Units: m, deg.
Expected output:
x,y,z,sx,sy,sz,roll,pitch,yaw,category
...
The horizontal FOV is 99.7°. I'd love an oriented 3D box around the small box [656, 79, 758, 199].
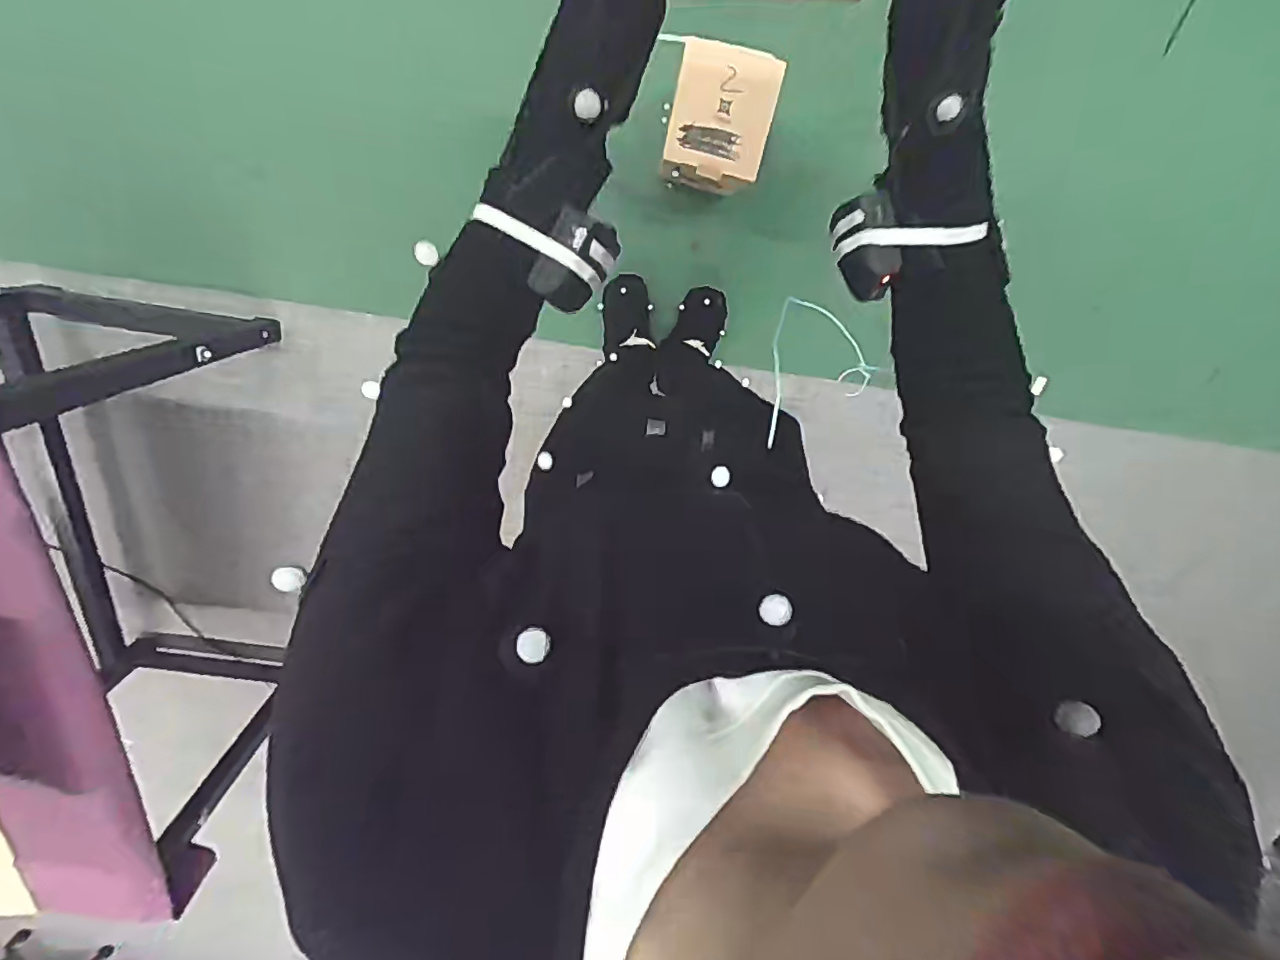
x,y,z,sx,sy,sz,roll,pitch,yaw,category
0.129,-0.690,1.116,0.168,0.176,0.179,9,115,-5,small box
